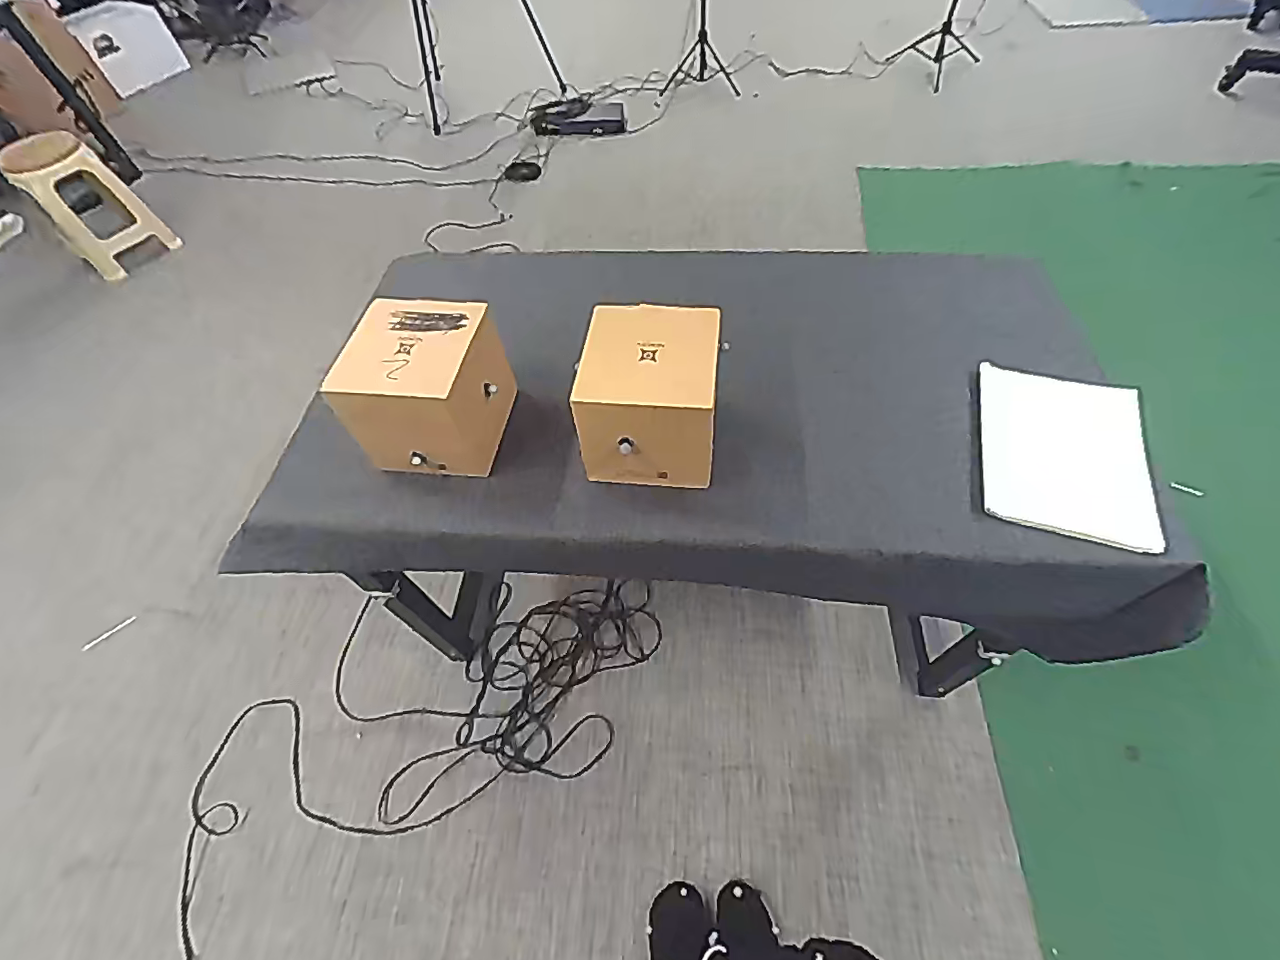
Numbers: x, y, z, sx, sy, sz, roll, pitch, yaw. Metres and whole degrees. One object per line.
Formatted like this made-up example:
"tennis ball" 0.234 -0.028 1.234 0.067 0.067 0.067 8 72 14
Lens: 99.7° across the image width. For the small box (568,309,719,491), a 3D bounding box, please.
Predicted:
"small box" 0.015 -0.102 0.712 0.168 0.176 0.179 4 55 7
